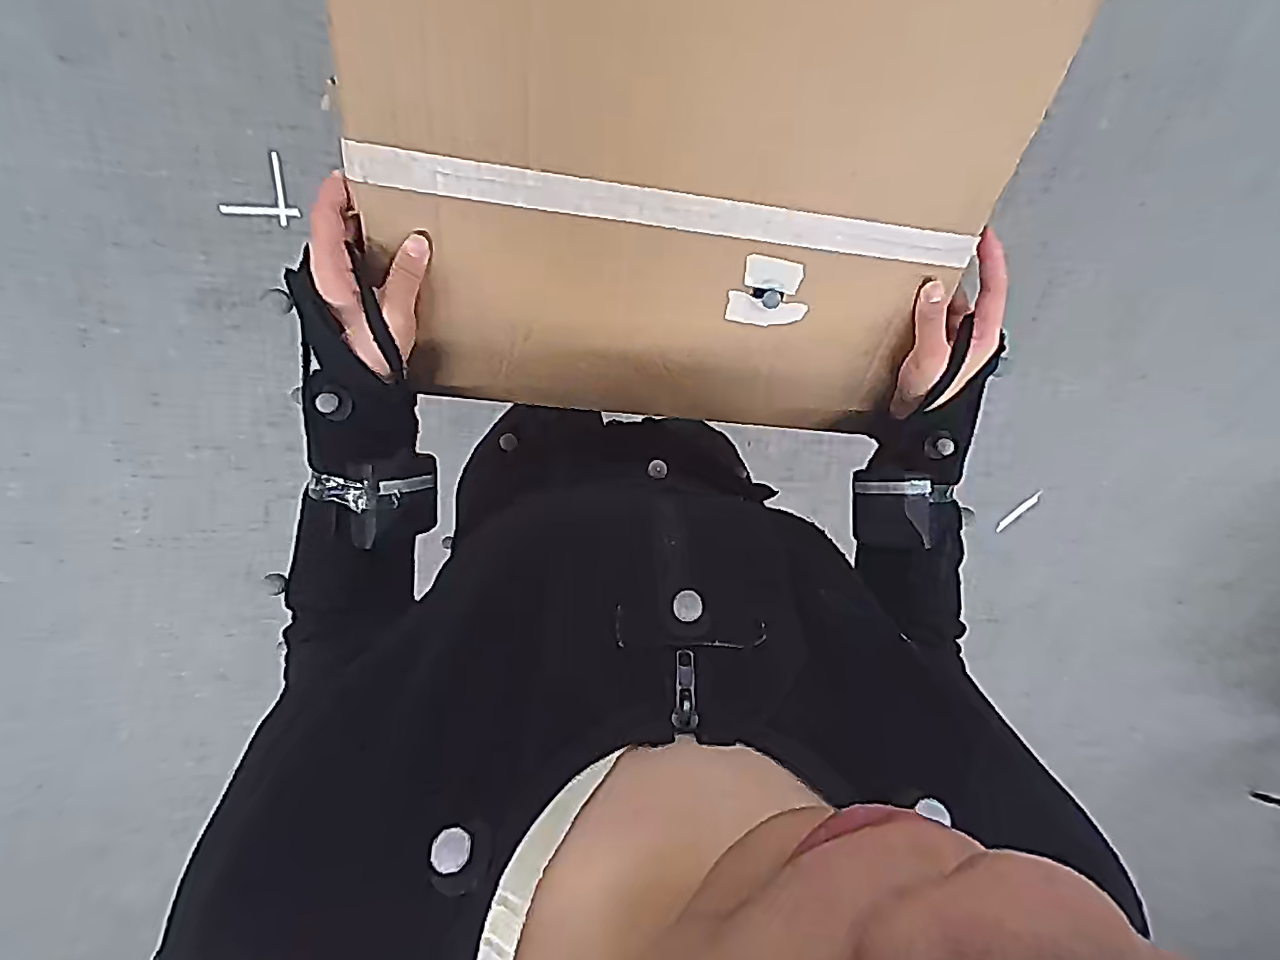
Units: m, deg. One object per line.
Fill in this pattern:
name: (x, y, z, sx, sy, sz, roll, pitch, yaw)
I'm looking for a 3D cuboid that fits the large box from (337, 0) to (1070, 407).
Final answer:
large box: (0.015, -0.285, 0.460, 0.408, 0.320, 0.320, 4, 130, -9)
